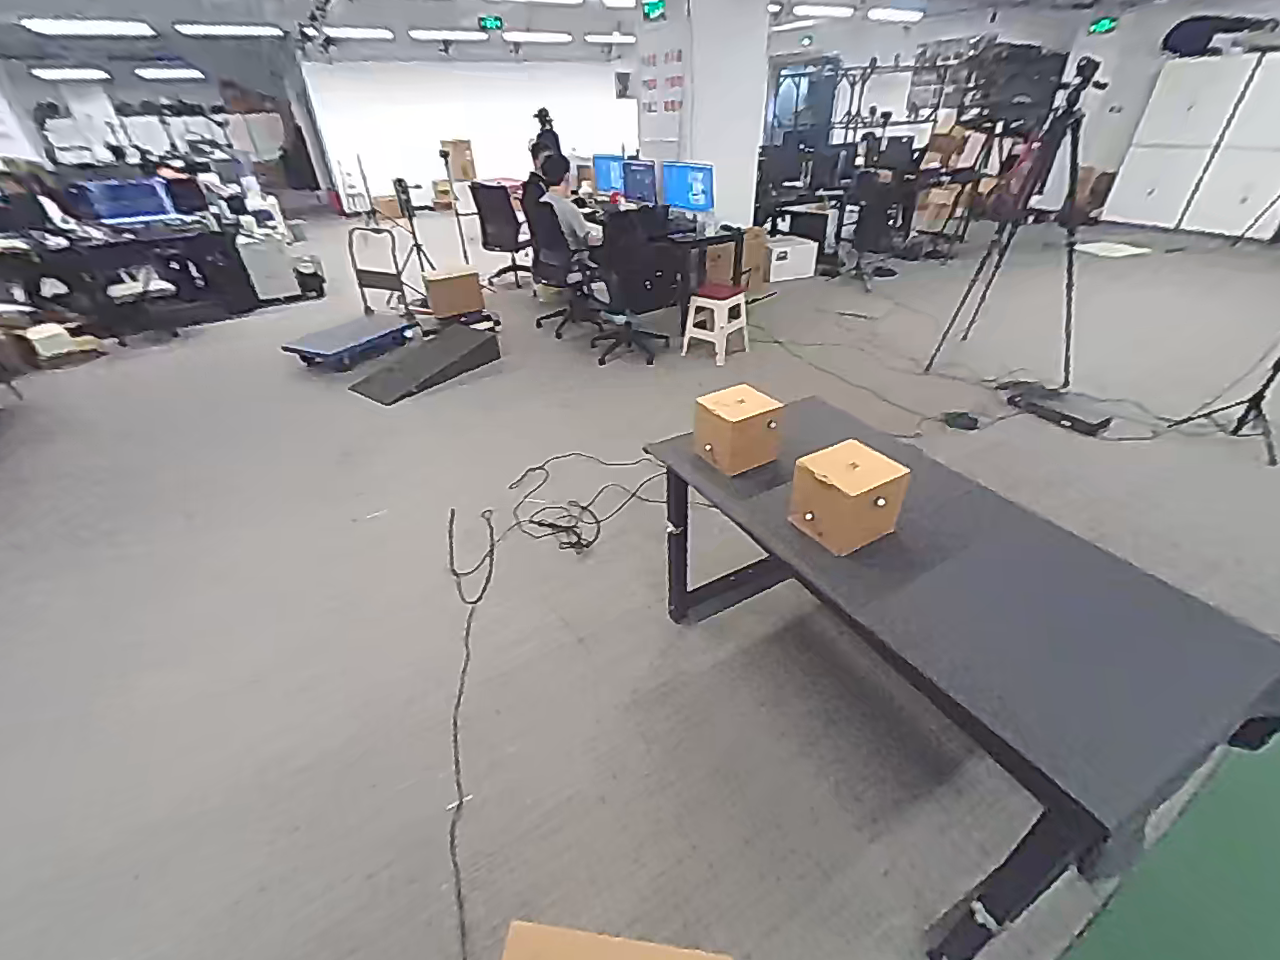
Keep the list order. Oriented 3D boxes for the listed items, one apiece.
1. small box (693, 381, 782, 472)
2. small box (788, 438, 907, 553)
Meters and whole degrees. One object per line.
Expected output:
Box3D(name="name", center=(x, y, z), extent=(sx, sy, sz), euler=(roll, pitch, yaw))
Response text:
Box3D(name="small box", center=(0.259, -0.147, 1.480), extent=(0.179, 0.176, 0.168), euler=(-19, 38, -24))
Box3D(name="small box", center=(0.457, 0.033, 1.218), extent=(0.179, 0.176, 0.168), euler=(-19, 39, -23))
